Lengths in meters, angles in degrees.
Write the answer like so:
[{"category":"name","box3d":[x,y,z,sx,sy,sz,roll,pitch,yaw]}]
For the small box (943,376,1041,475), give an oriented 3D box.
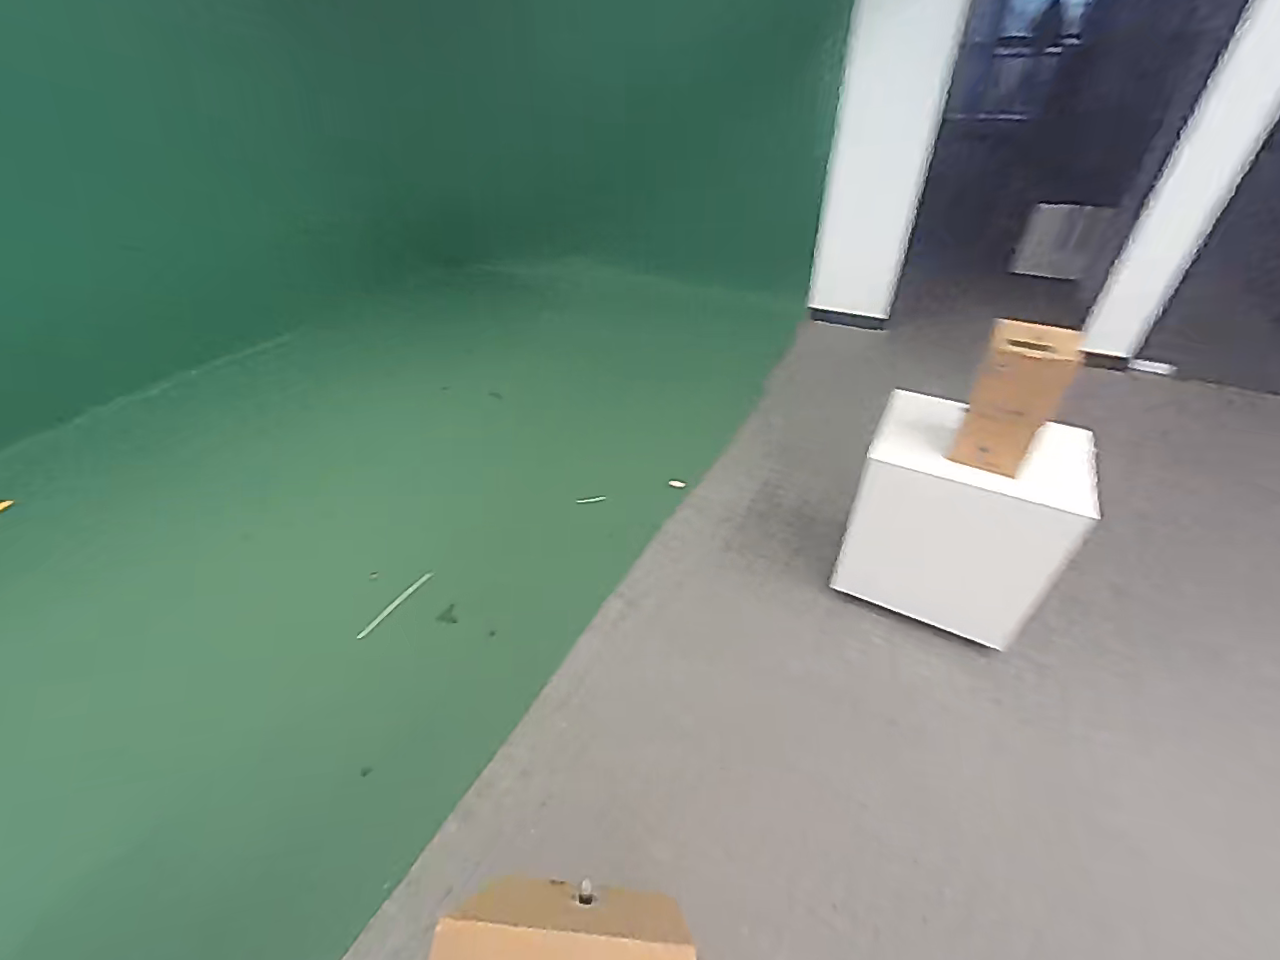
[{"category":"small box","box3d":[0.910,-0.144,1.405,0.168,0.176,0.179,20,44,25]}]
